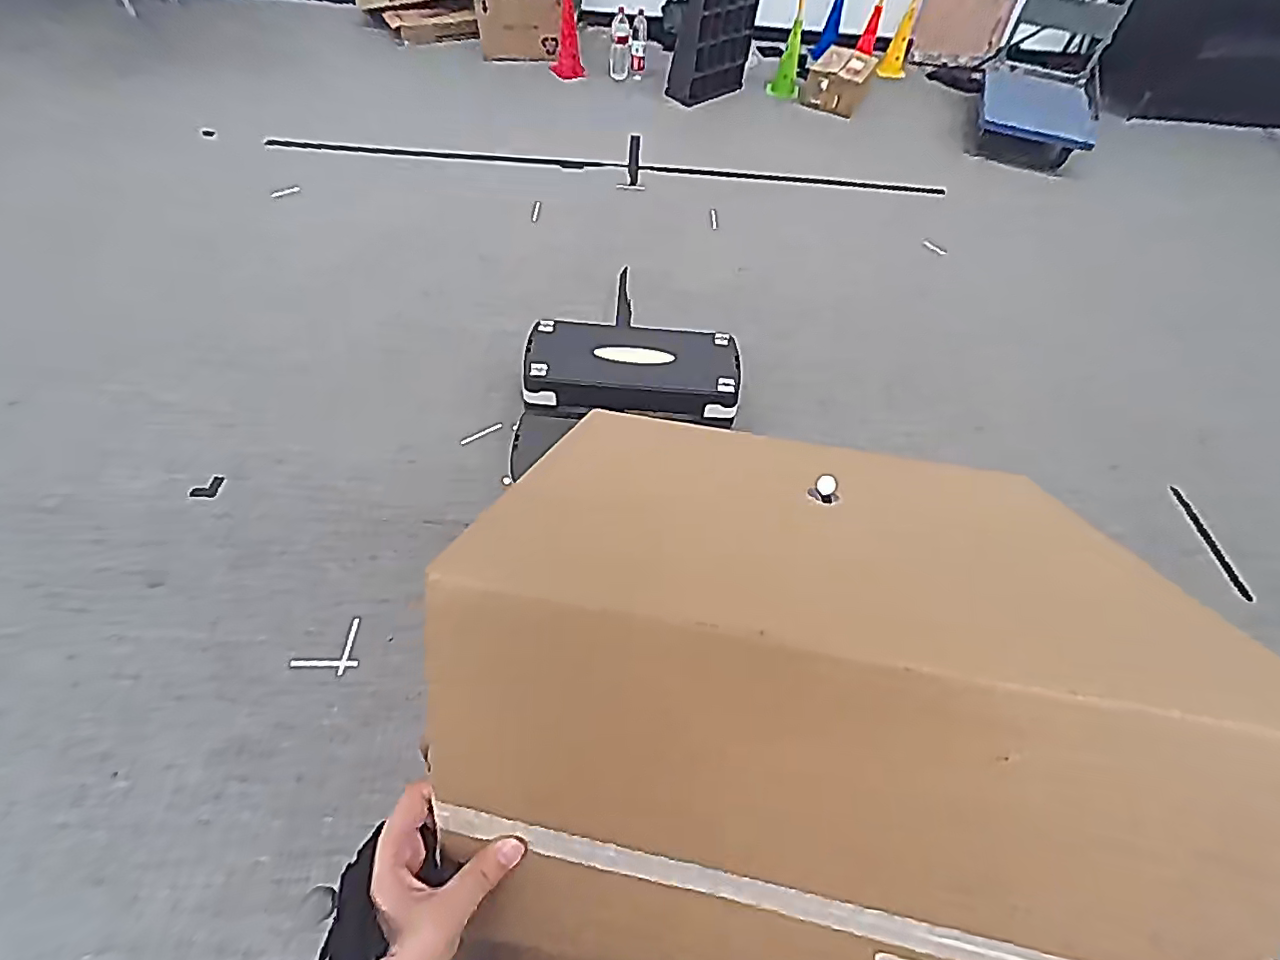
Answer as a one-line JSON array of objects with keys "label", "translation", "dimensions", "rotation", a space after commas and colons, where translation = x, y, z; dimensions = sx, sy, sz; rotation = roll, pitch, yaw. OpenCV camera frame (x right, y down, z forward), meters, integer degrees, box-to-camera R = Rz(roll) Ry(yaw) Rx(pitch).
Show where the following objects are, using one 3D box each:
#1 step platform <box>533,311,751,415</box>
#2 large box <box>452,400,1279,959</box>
[{"label": "step platform", "translation": [0.008, -0.344, 1.732], "dimensions": [0.684, 0.204, 0.286], "rotation": [9, 56, 0]}, {"label": "large box", "translation": [0.119, 0.137, 0.412], "dimensions": [0.408, 0.320, 0.320], "rotation": [9, 23, 6]}]
